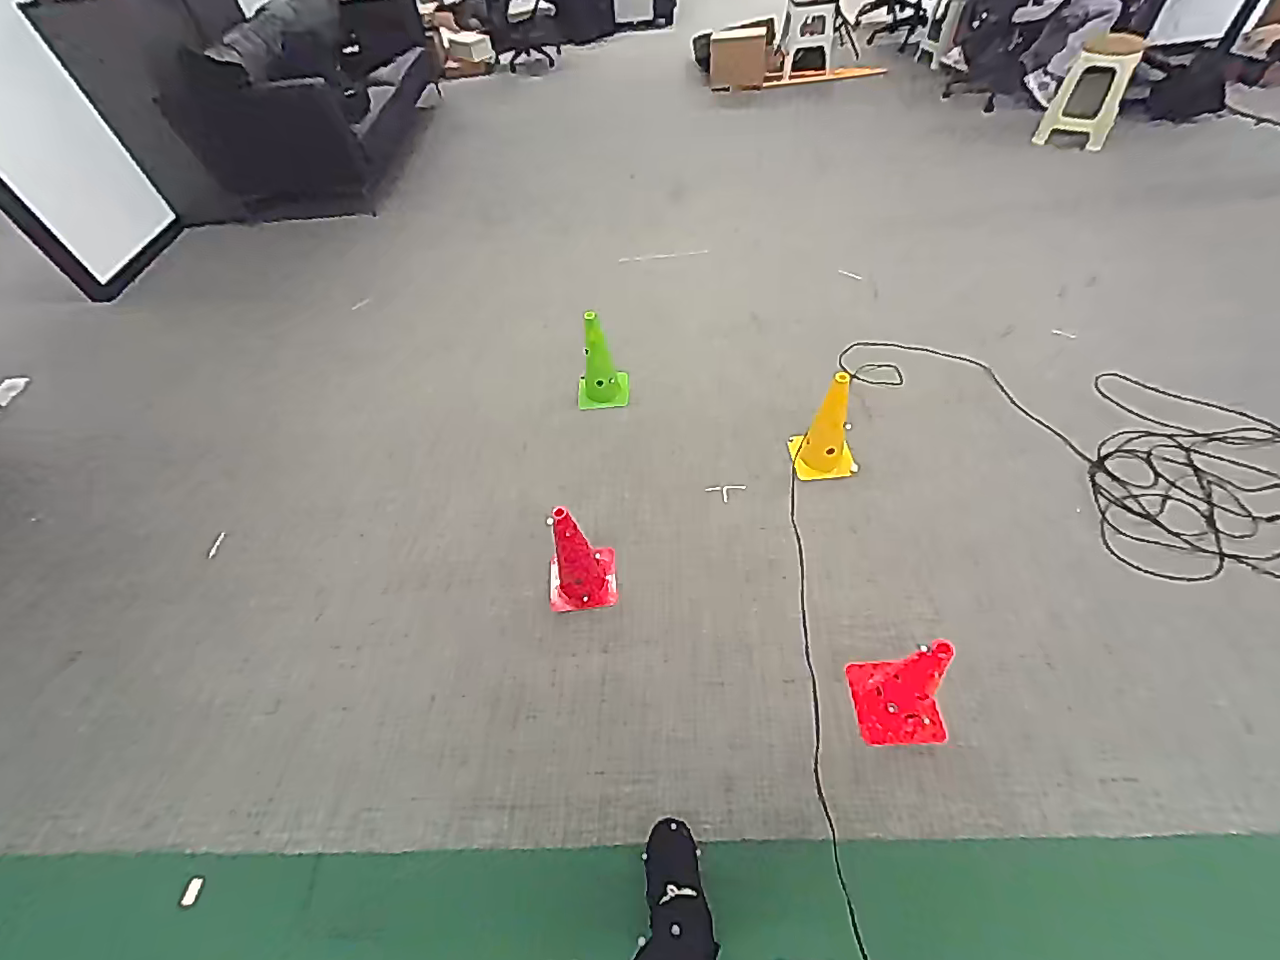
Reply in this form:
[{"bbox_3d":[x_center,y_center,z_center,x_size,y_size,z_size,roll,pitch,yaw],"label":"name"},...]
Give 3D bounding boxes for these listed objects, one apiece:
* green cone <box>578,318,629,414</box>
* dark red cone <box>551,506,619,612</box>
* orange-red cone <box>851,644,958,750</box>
[{"bbox_3d":[-0.159,-0.446,2.042,0.202,0.368,0.200,-4,51,2],"label":"green cone"},{"bbox_3d":[-0.182,0.197,1.491,0.202,0.394,0.201,-8,52,0],"label":"dark red cone"},{"bbox_3d":[0.627,0.454,1.214,0.198,0.360,0.199,-3,50,3],"label":"orange-red cone"}]
